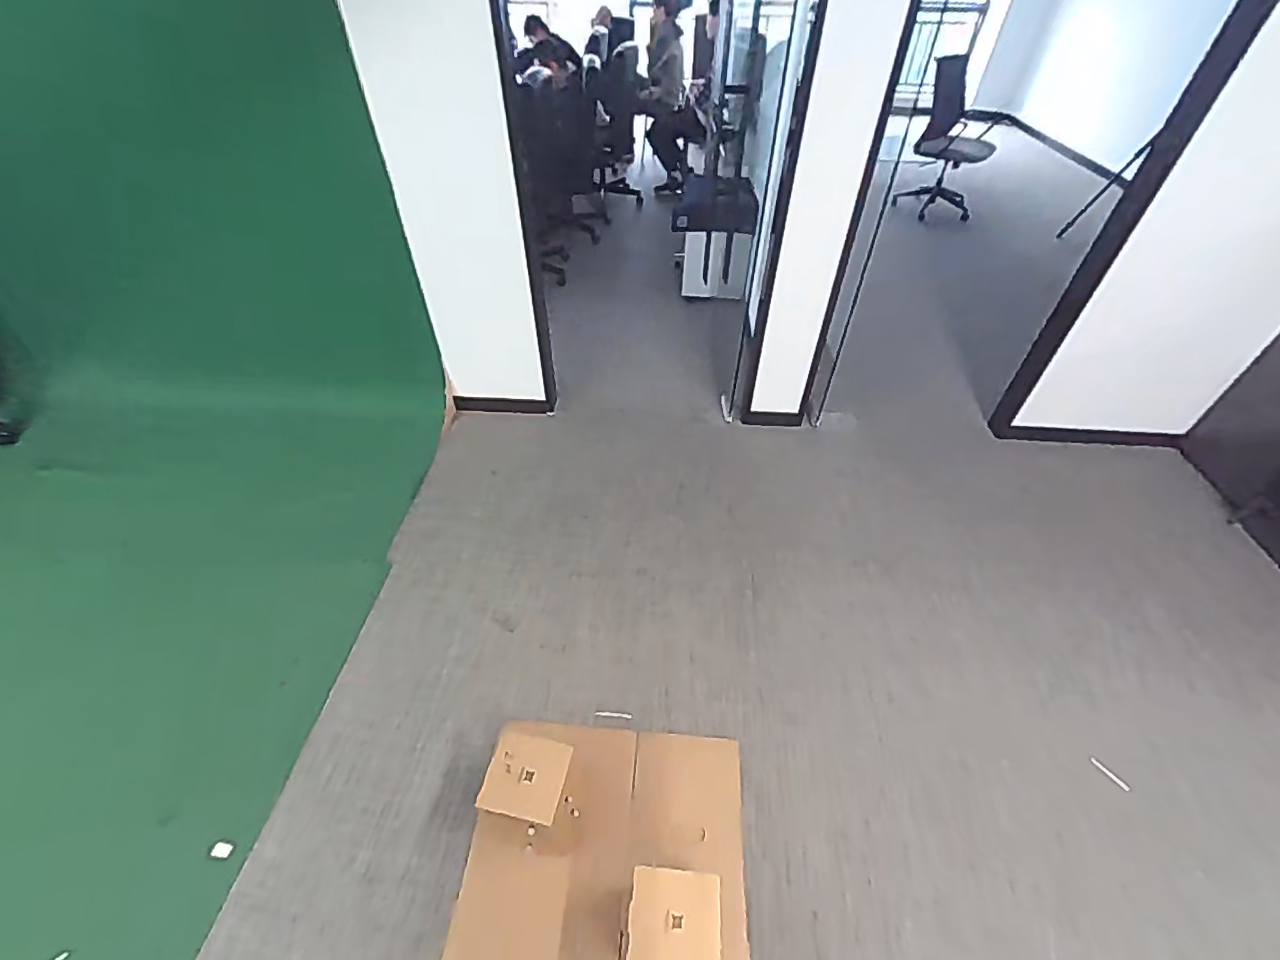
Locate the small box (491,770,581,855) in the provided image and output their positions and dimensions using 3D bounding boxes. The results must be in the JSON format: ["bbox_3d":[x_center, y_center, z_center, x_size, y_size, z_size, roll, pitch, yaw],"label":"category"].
[{"bbox_3d":[-0.255,0.822,1.368,0.179,0.176,0.168,10,45,9],"label":"small box"}]

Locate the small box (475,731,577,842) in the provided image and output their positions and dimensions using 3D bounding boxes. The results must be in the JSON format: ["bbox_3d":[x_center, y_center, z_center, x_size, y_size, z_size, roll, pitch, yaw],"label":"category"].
[{"bbox_3d":[-0.251,0.710,1.245,0.179,0.176,0.168,9,45,8],"label":"small box"}]

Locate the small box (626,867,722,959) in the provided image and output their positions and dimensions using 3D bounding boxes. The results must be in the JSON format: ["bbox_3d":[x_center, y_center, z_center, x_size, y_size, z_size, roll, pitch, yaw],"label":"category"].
[{"bbox_3d":[0.067,0.893,1.077,0.179,0.176,0.168,3,46,4],"label":"small box"}]
